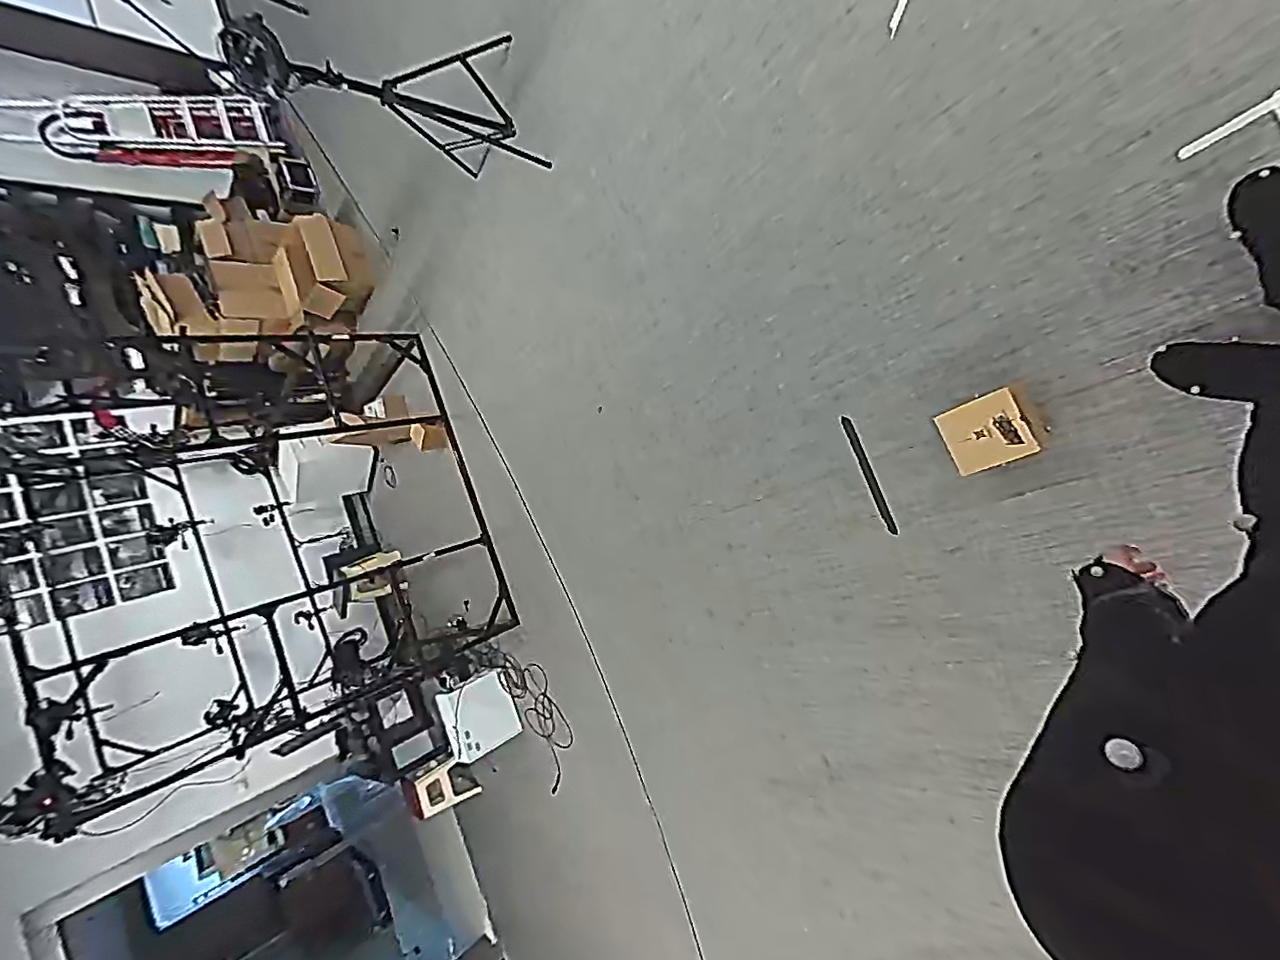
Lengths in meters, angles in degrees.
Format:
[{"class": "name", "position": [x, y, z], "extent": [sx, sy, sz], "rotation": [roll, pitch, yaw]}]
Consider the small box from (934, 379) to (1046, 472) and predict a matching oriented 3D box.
[{"class": "small box", "position": [0.874, -0.138, 1.342], "extent": [0.179, 0.176, 0.168], "rotation": [-30, 80, 46]}]
